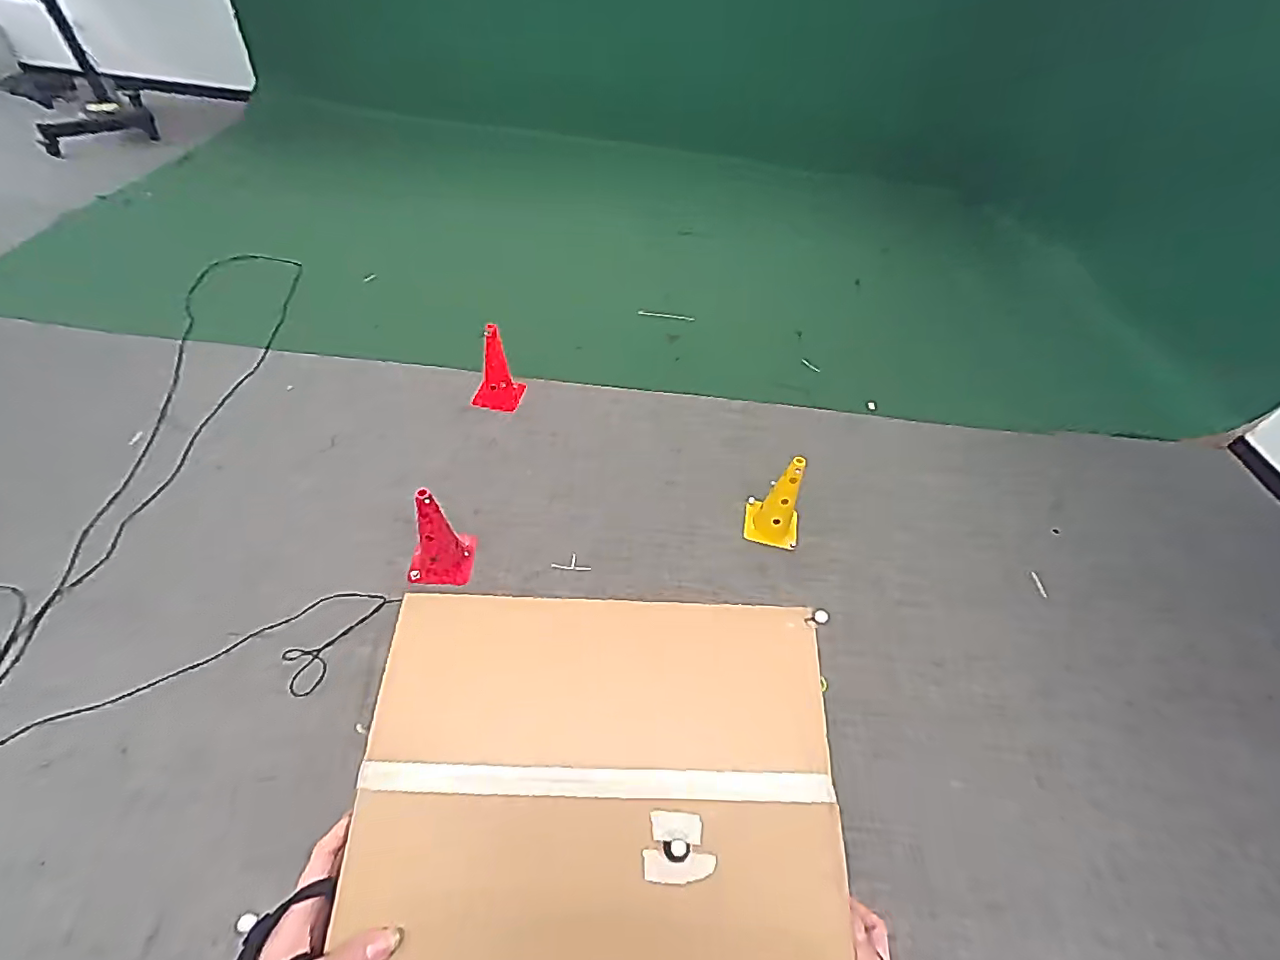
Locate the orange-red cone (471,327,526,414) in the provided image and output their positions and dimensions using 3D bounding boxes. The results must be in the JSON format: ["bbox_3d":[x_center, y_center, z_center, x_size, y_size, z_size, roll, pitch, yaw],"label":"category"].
[{"bbox_3d":[-0.614,-0.483,2.283,0.199,0.360,0.198,11,47,4],"label":"orange-red cone"}]

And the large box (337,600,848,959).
[{"bbox_3d":[-0.040,0.331,0.607,0.408,0.320,0.320,2,63,-1],"label":"large box"}]
